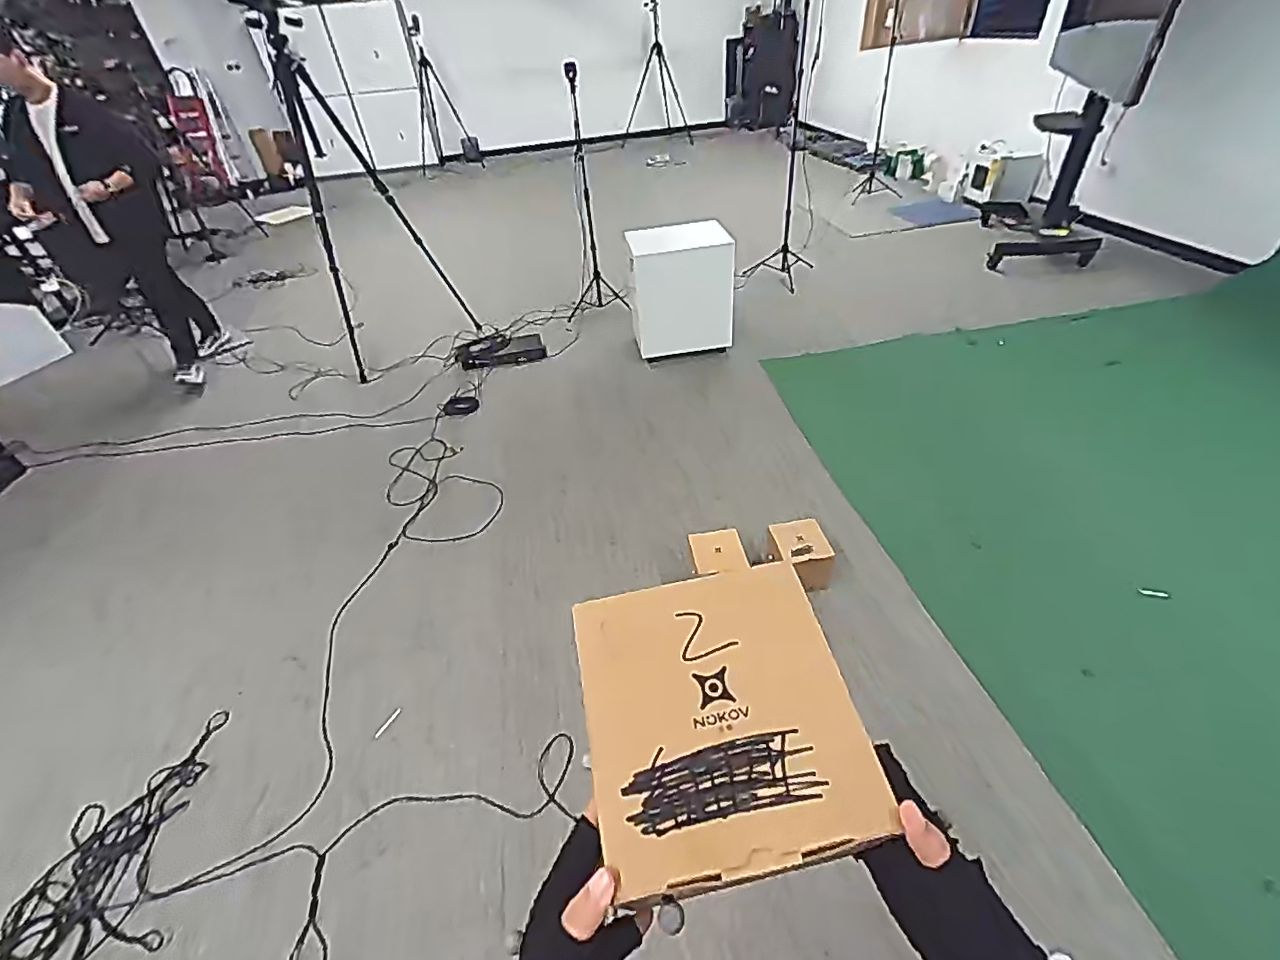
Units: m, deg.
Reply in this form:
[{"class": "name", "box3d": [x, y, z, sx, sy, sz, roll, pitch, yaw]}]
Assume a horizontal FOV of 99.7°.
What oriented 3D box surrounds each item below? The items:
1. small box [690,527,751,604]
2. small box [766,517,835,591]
[{"class": "small box", "box3d": [0.261, 0.285, 1.795, 0.168, 0.176, 0.179, -8, 41, -4]}, {"class": "small box", "box3d": [0.528, 0.252, 1.803, 0.168, 0.176, 0.179, -8, 41, -4]}]
